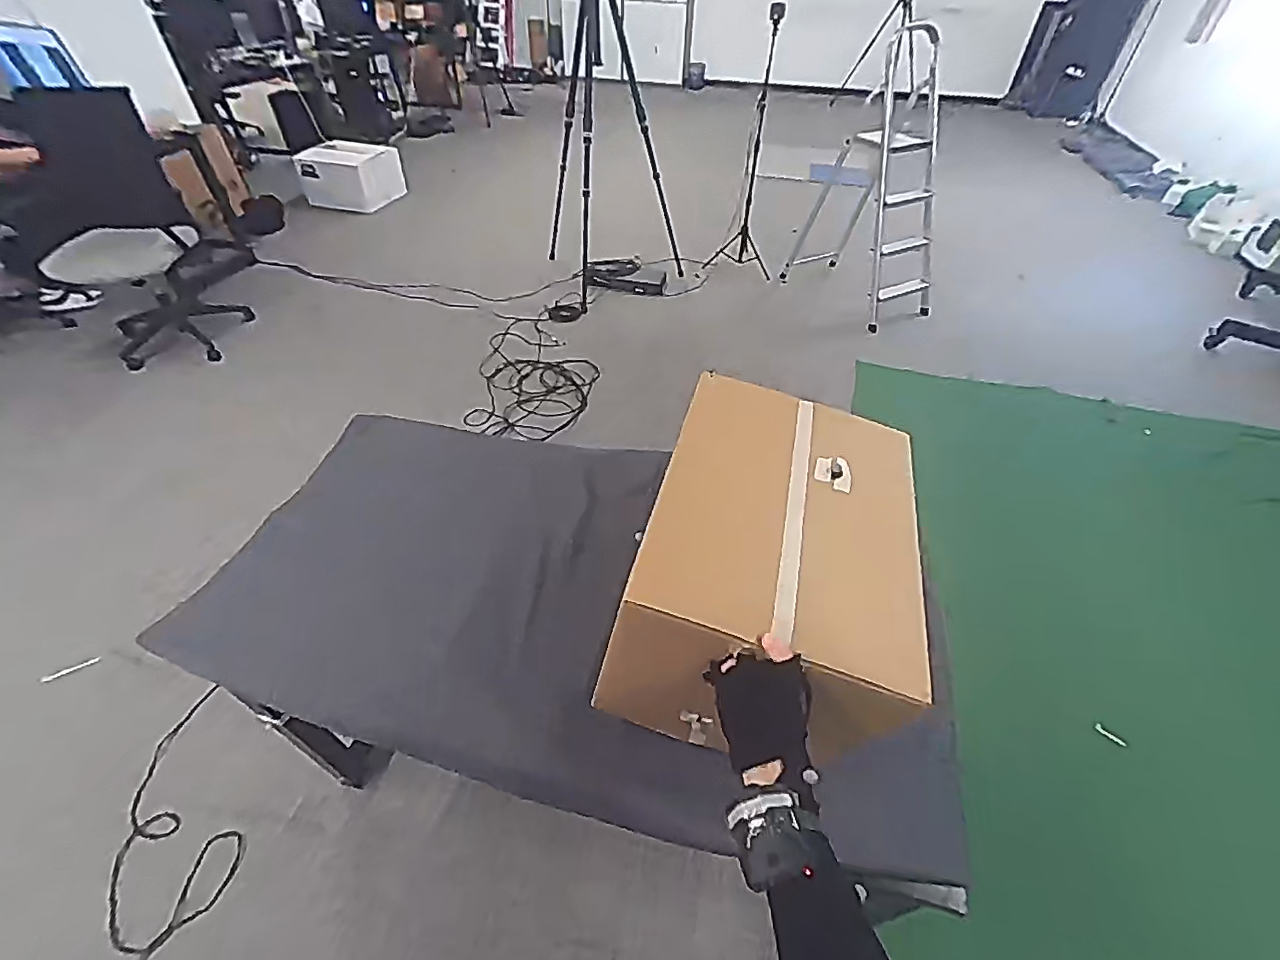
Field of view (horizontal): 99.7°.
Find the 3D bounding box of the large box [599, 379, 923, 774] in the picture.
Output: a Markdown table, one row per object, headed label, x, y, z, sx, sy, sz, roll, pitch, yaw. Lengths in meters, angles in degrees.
| label | x | y | z | sx | sy | sz | roll | pitch | yaw |
| --- | --- | --- | --- | --- | --- | --- | --- | --- | --- |
| large box | 0.153 | 0.127 | 0.767 | 0.320 | 0.320 | 0.408 | 18 | 47 | 3 |
